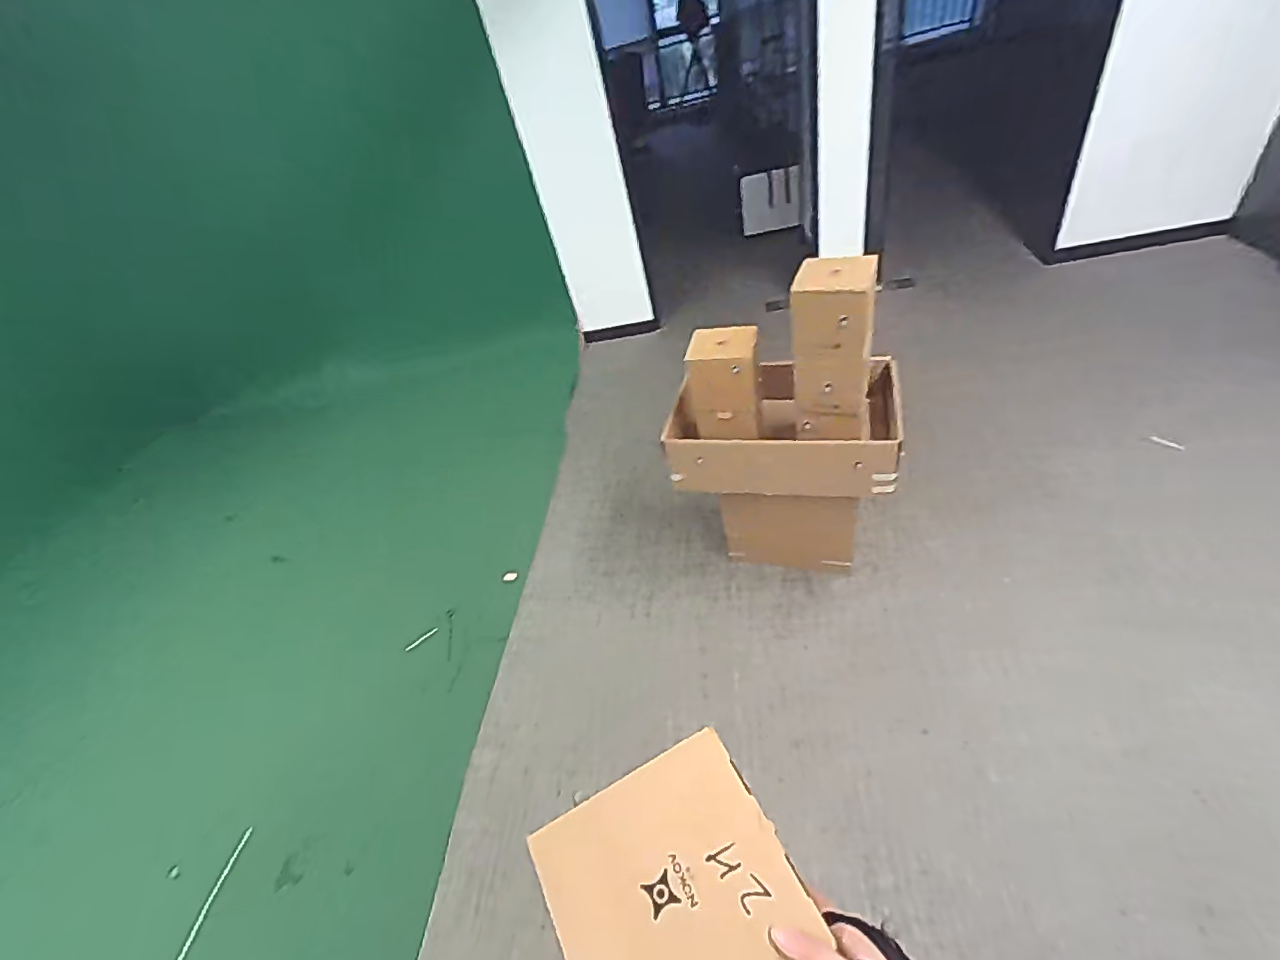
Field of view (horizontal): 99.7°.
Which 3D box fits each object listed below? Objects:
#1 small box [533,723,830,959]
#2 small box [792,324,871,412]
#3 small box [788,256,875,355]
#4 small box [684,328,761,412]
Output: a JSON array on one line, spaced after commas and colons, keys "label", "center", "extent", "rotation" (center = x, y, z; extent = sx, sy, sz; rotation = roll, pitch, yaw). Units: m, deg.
[{"label": "small box", "center": [0.034, 0.347, 0.470], "extent": [0.179, 0.176, 0.168], "rotation": [-26, 55, -11]}, {"label": "small box", "center": [0.494, -0.290, 1.387], "extent": [0.168, 0.176, 0.179], "rotation": [6, 46, 25]}, {"label": "small box", "center": [0.456, -0.409, 1.281], "extent": [0.168, 0.176, 0.179], "rotation": [7, 45, 26]}, {"label": "small box", "center": [0.233, -0.300, 1.495], "extent": [0.179, 0.176, 0.168], "rotation": [1, 44, 19]}]
